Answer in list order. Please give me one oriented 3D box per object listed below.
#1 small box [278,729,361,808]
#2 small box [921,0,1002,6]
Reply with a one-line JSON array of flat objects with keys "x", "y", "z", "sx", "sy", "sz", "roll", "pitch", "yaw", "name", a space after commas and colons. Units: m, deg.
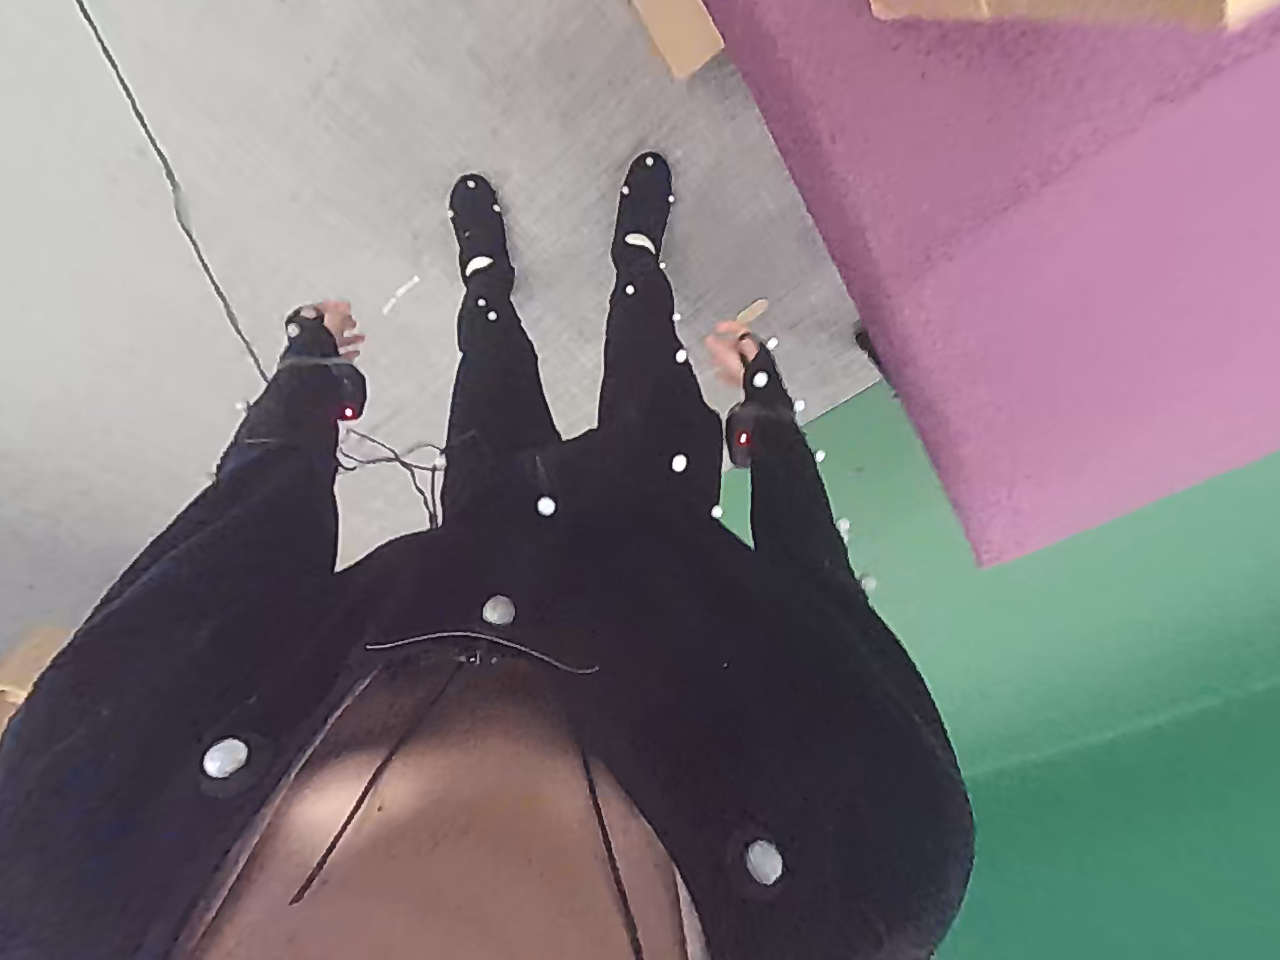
[{"x": -0.992, "y": 0.904, "z": 1.691, "sx": 0.168, "sy": 0.176, "sz": 0.179, "roll": 6, "pitch": 130, "yaw": -11, "name": "small box"}, {"x": 0.226, "y": -0.420, "z": 0.302, "sx": 0.179, "sy": 0.176, "sz": 0.168, "roll": -30, "pitch": 127, "yaw": 21, "name": "small box"}]
